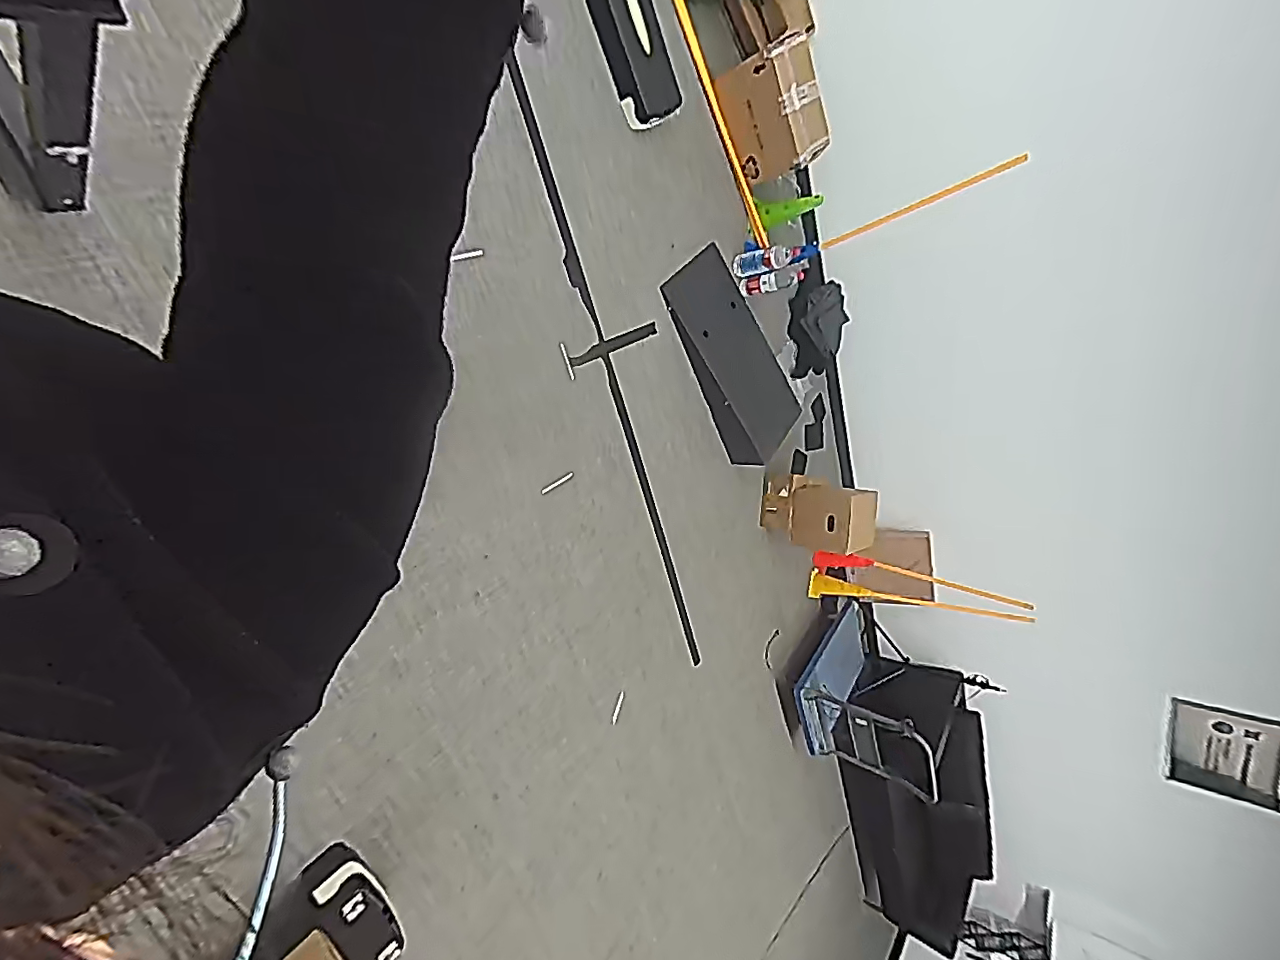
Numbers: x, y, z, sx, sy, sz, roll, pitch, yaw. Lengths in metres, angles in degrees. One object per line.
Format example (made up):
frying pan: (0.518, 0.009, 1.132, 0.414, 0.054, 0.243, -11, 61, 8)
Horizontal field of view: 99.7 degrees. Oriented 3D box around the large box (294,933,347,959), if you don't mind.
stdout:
large box: (-0.707, 1.273, 1.078, 0.408, 0.320, 0.320, -35, 118, -41)
